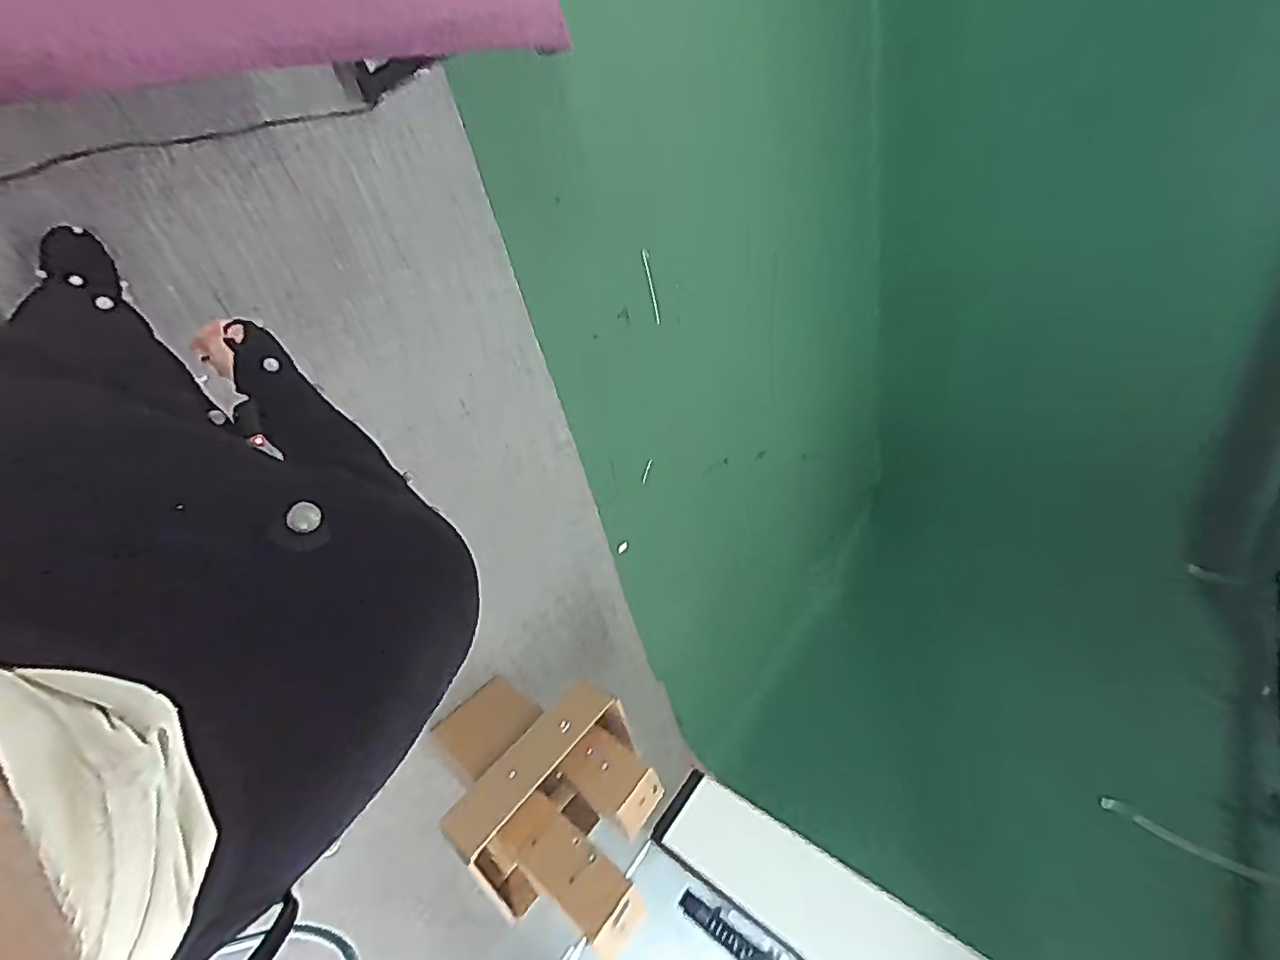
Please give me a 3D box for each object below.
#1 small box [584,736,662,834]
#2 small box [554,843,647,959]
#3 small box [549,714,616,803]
[{"bbox_3d":[-0.061,0.973,1.736,0.179,0.176,0.168,-40,128,-32],"label":"small box"},{"bbox_3d":[-0.110,1.145,1.482,0.168,0.176,0.179,-38,128,-34],"label":"small box"},{"bbox_3d":[-0.179,0.942,1.845,0.179,0.176,0.168,-38,127,-33],"label":"small box"}]
